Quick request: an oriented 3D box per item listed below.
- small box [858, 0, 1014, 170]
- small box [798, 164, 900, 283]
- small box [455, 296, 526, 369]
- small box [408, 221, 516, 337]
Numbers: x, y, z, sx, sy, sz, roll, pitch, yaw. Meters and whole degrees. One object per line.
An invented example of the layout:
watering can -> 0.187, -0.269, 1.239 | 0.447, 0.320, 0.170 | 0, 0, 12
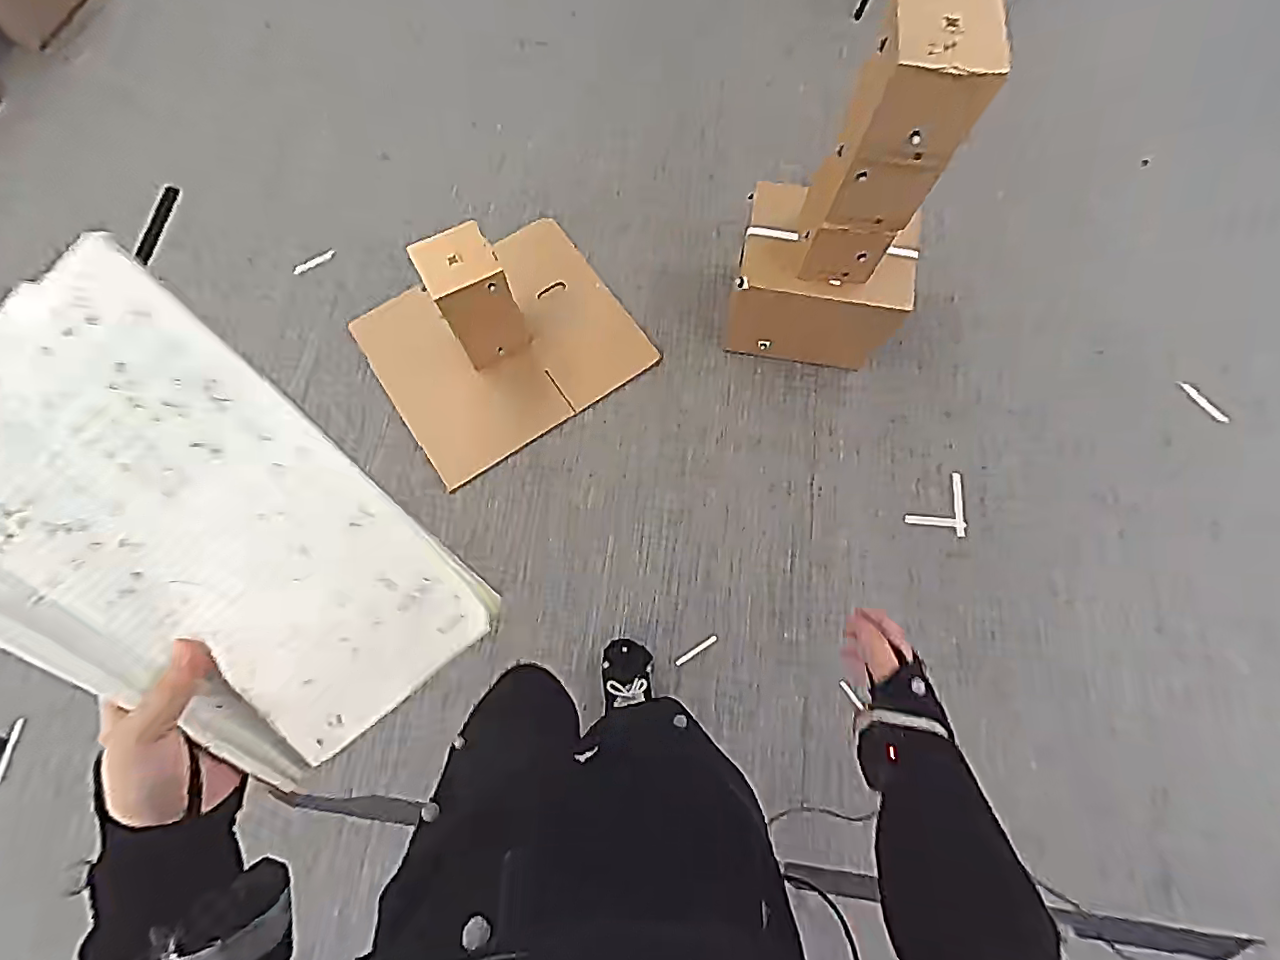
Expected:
small box -> 0.472, -0.653, 0.888 | 0.168, 0.176, 0.179 | 7, 74, 1
small box -> 0.457, -0.564, 1.205 | 0.168, 0.176, 0.179 | 5, 74, 0
small box -> -0.423, -0.436, 1.470 | 0.179, 0.176, 0.168 | -29, 76, -11
small box -> -0.423, -0.480, 1.313 | 0.179, 0.176, 0.168 | -28, 76, -10
